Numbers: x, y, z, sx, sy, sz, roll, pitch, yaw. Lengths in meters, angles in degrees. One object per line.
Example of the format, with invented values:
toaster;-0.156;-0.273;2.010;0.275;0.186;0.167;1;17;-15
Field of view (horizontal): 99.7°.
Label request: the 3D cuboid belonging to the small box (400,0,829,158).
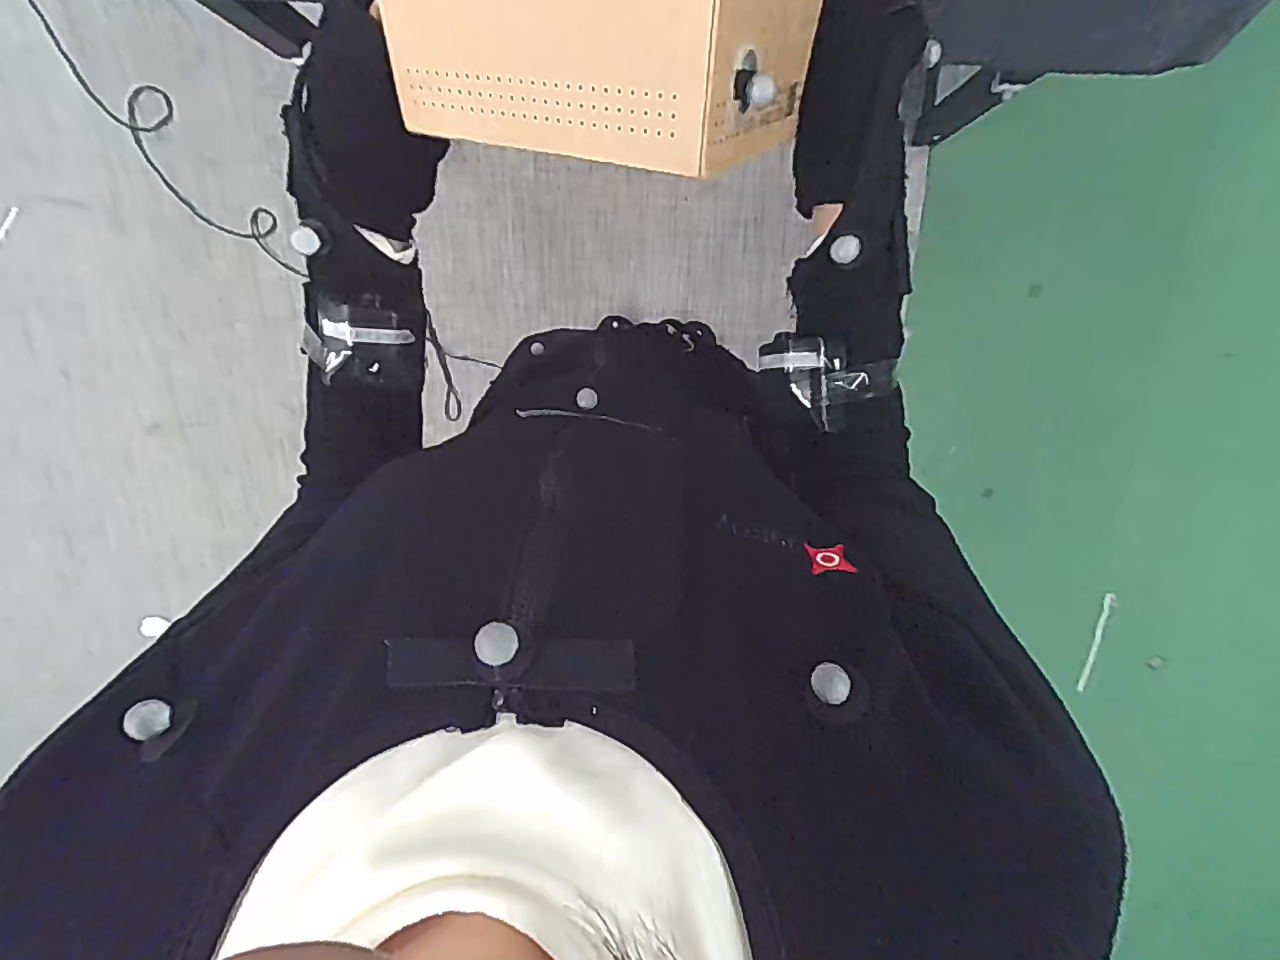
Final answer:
small box;-0.005;-0.271;0.267;0.179;0.168;0.176;23;135;22
